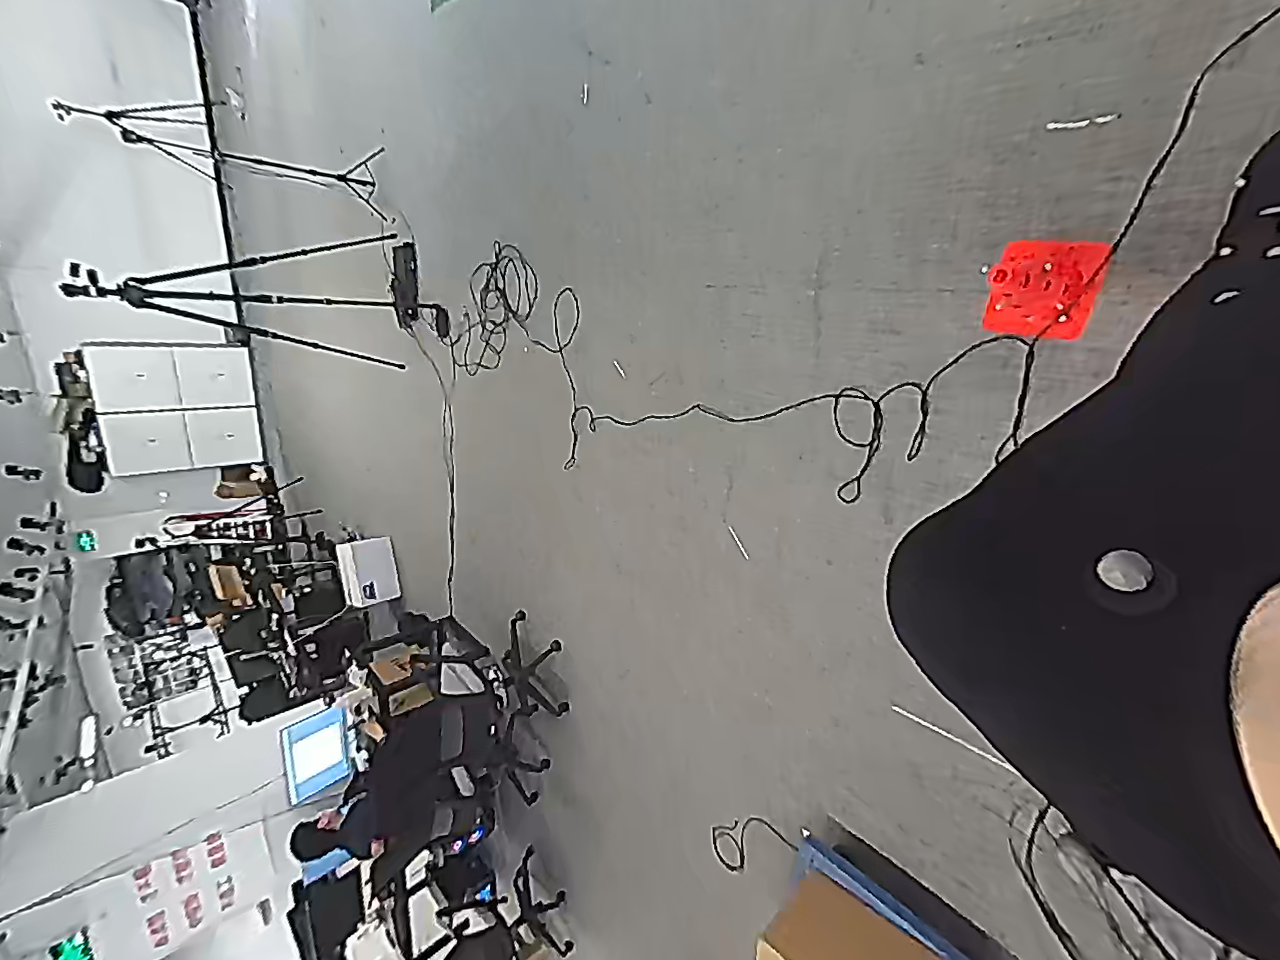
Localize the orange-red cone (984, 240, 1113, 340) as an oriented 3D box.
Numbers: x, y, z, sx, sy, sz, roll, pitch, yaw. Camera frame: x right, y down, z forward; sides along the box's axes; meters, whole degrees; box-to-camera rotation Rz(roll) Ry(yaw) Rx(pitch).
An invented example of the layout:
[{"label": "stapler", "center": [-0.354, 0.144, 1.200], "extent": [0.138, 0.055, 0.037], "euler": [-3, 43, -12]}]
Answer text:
[{"label": "orange-red cone", "center": [0.778, -0.401, 1.086], "extent": [0.198, 0.360, 0.199], "euler": [26, 116, 40]}]
